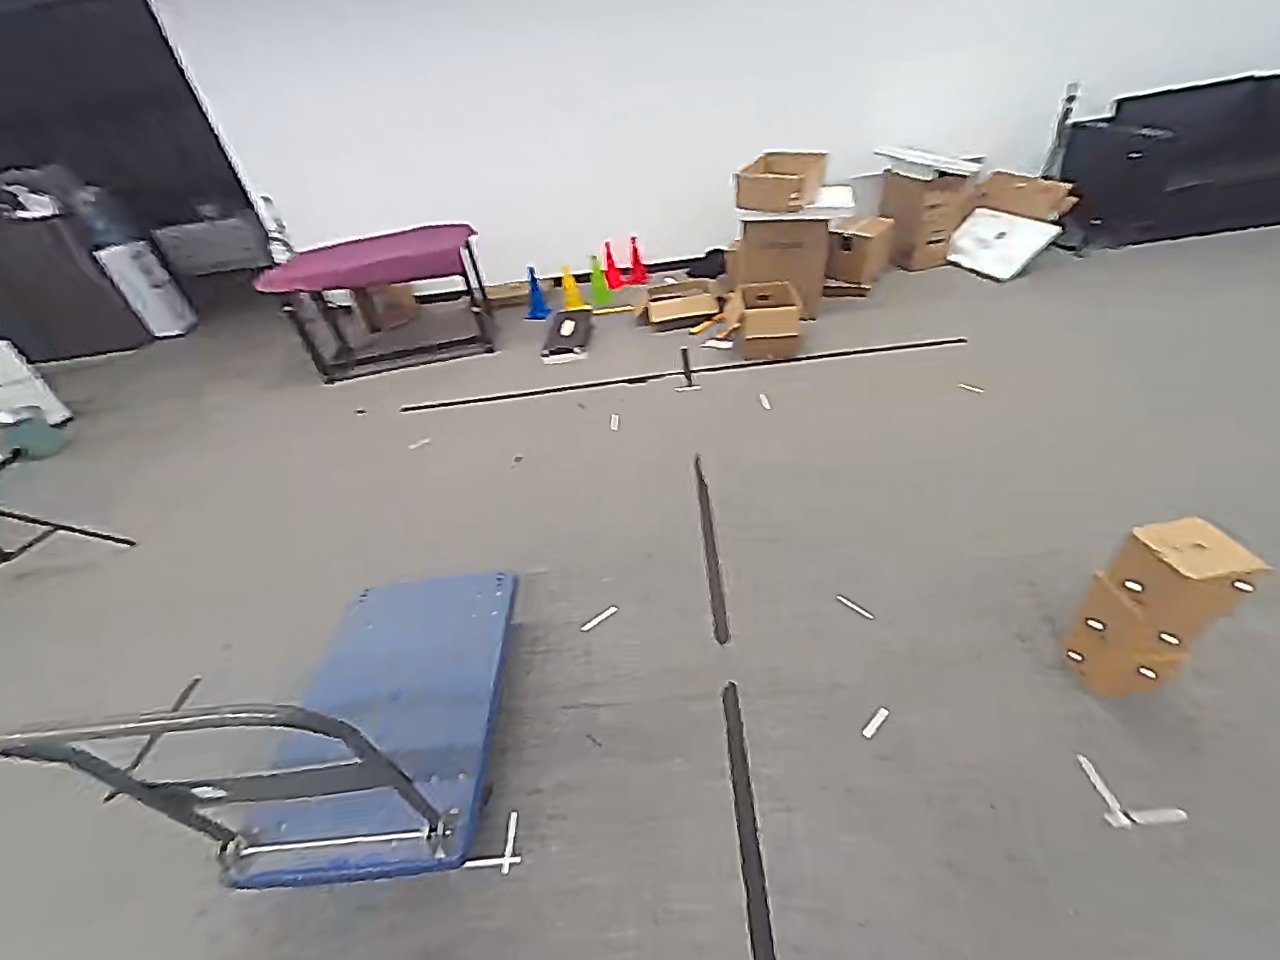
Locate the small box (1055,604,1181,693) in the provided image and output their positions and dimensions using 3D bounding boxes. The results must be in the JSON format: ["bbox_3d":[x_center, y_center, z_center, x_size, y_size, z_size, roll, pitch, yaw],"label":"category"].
[{"bbox_3d":[1.306,0.468,1.495,0.179,0.176,0.168,-8,38,3],"label":"small box"}]

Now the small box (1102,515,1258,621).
[{"bbox_3d":[1.270,0.212,1.290,0.179,0.176,0.168,-11,37,0],"label":"small box"}]
